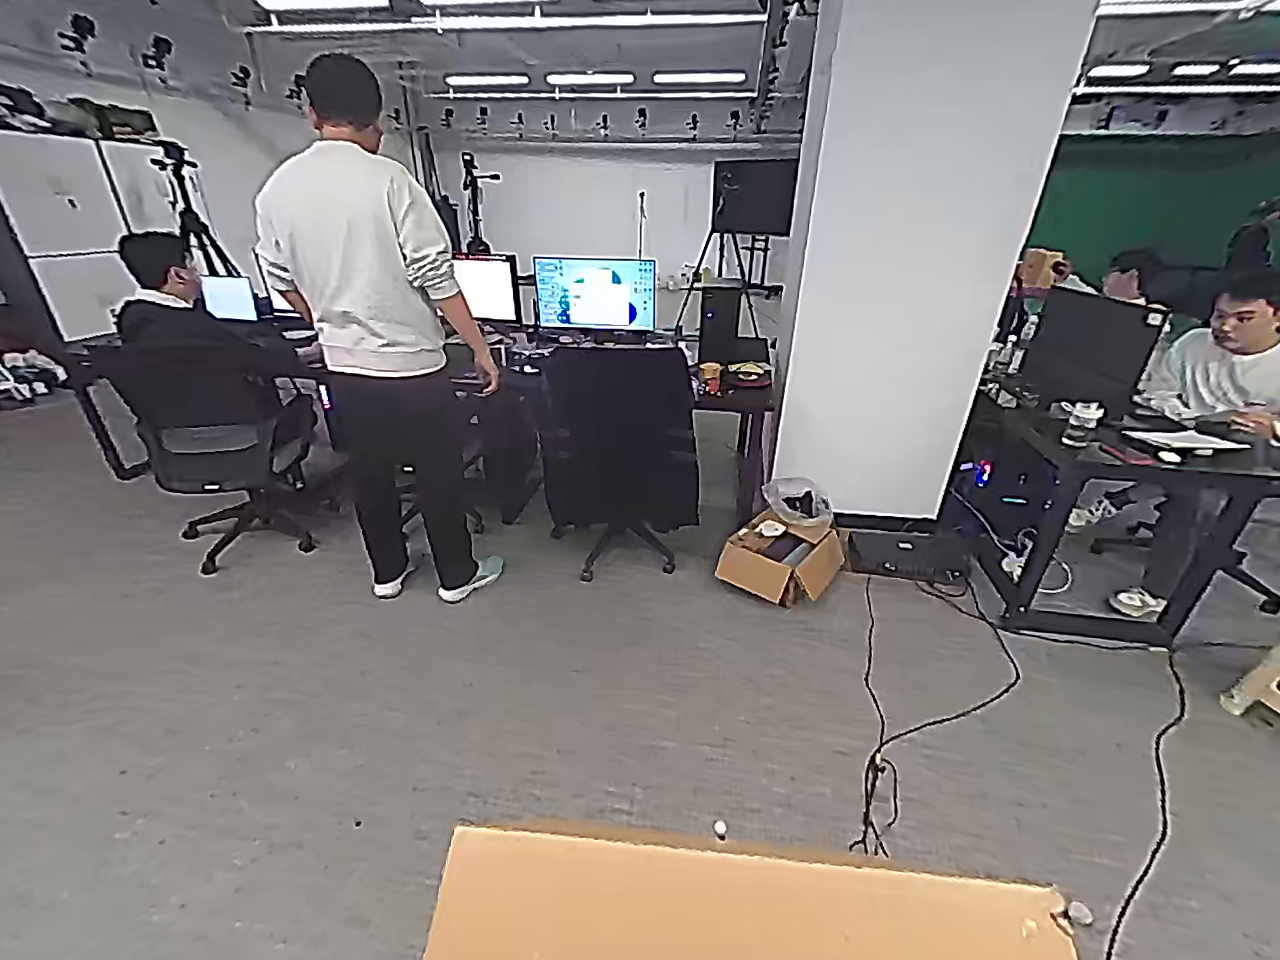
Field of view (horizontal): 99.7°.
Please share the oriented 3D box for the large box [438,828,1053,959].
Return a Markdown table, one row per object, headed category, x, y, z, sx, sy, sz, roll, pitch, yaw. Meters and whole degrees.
| category | x | y | z | sx | sy | sz | roll | pitch | yaw |
| --- | --- | --- | --- | --- | --- | --- | --- | --- | --- |
| large box | 0.061 | 0.471 | 0.426 | 0.408 | 0.320 | 0.320 | 4 | 60 | 3 |
